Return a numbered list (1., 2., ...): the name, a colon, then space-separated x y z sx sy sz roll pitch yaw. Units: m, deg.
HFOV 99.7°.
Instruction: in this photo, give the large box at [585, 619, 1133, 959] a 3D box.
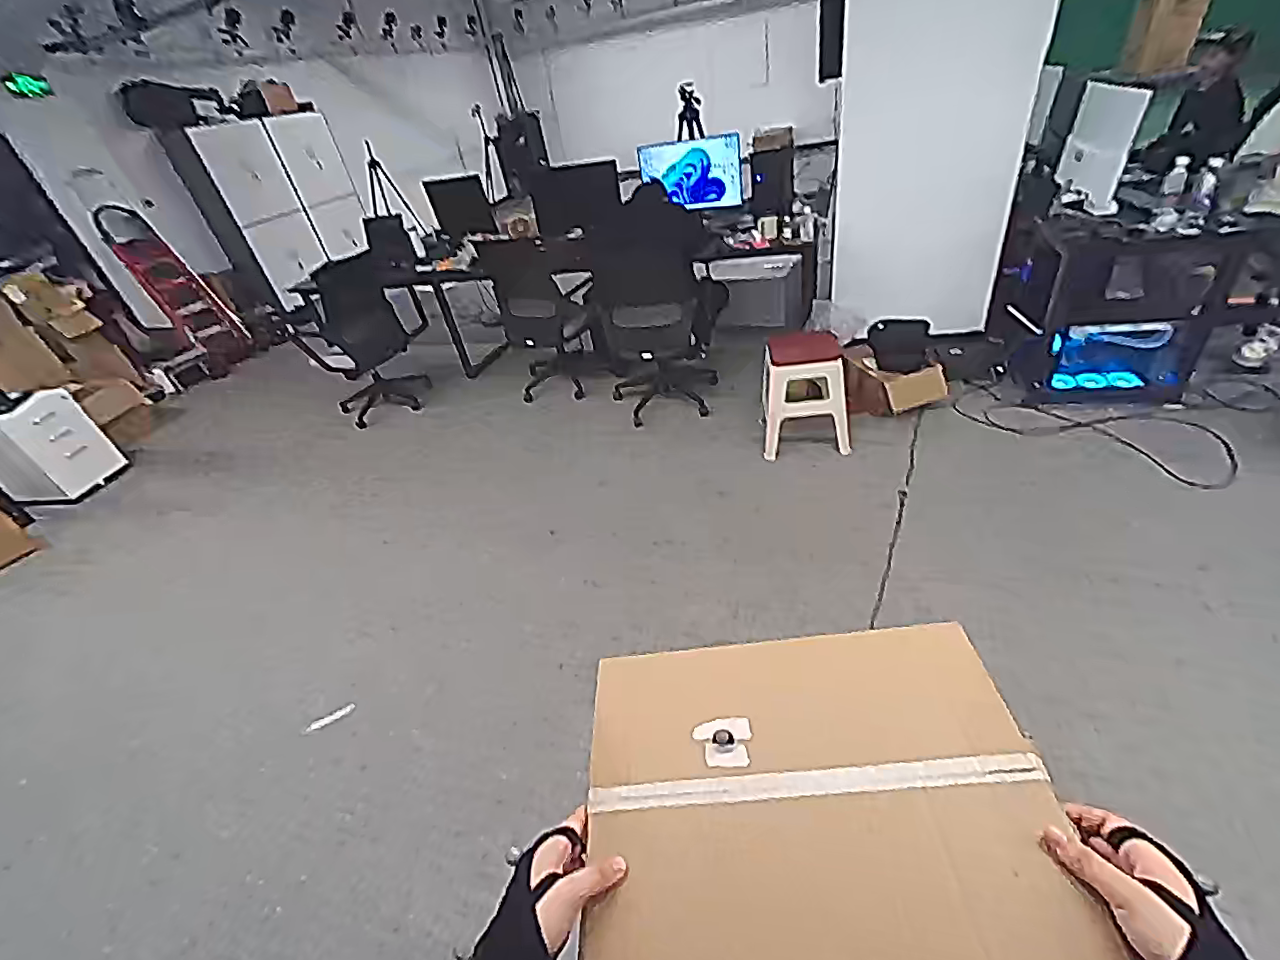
1. large box: 0.182 0.397 0.597 0.408 0.320 0.320 -10 37 8
